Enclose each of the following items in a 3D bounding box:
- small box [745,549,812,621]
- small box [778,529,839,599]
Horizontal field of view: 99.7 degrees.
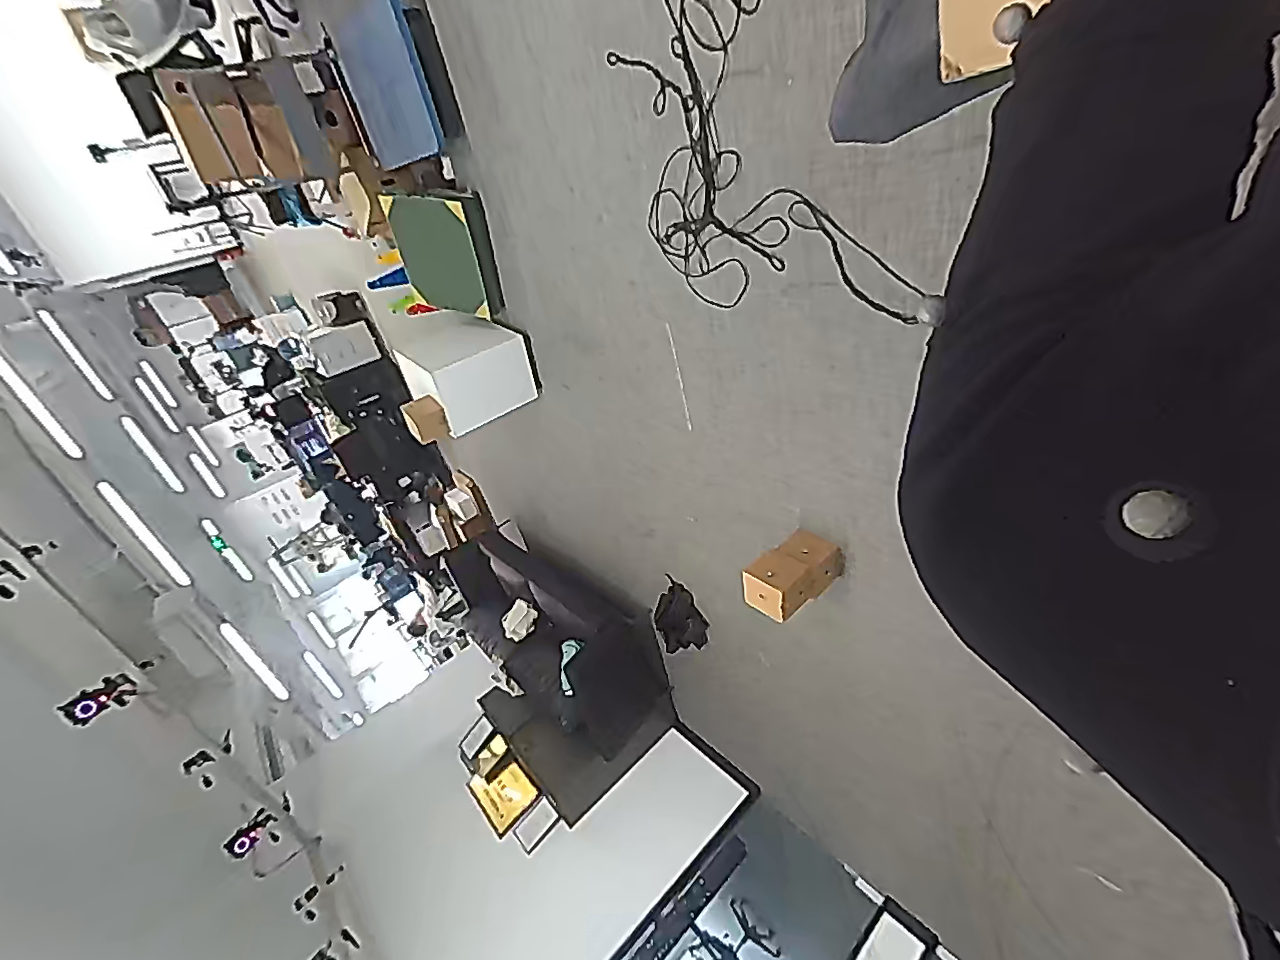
[{"bbox_3d":[0.509,0.377,1.988,0.179,0.176,0.168,25,138,43],"label":"small box"},{"bbox_3d":[0.640,0.313,2.063,0.179,0.176,0.168,25,138,43],"label":"small box"}]
